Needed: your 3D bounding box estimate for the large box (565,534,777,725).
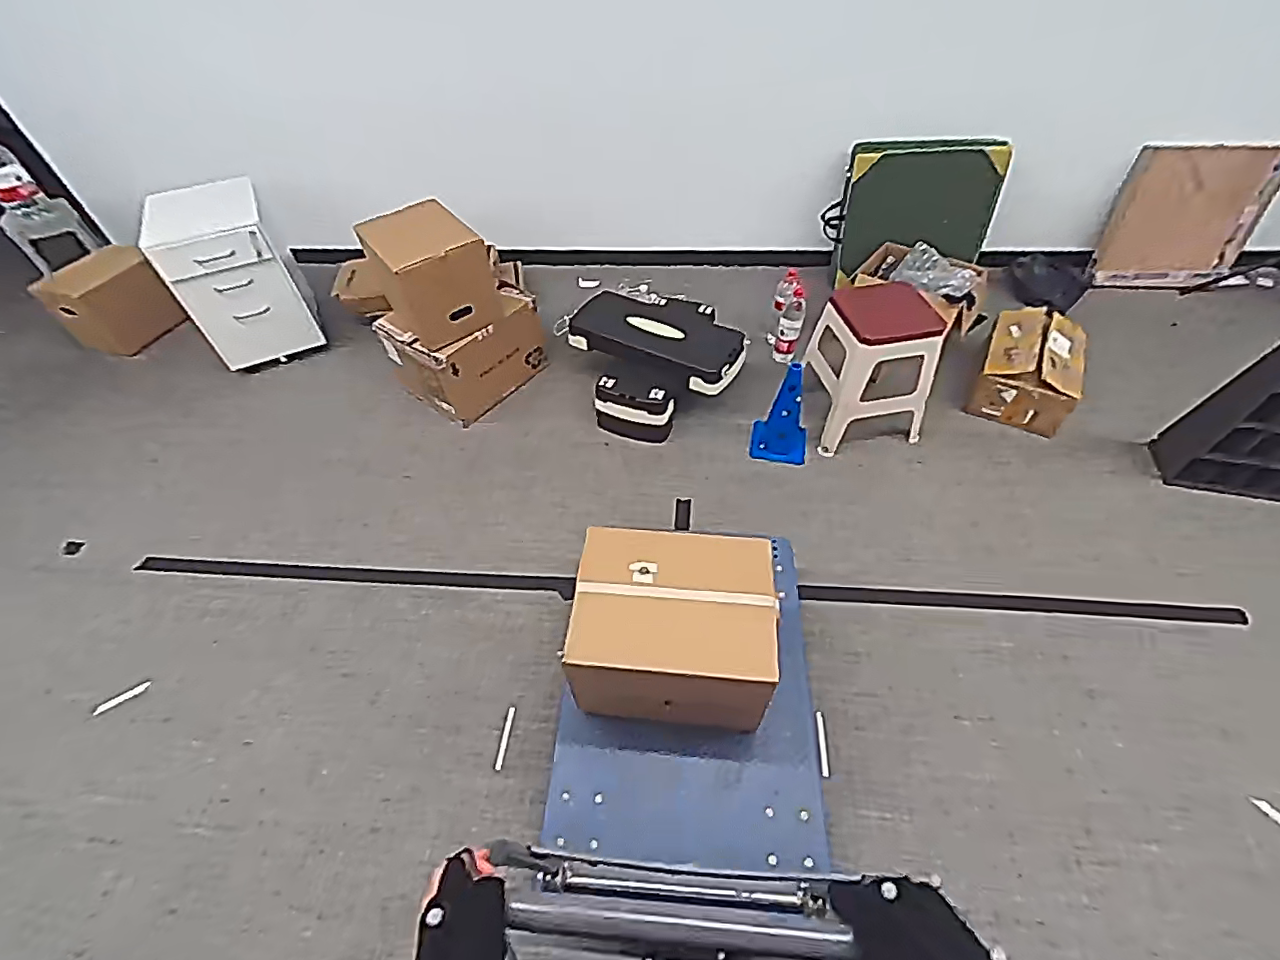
[{"bbox_3d":[0.077,0.338,1.213,0.408,0.320,0.320,2,50,6],"label":"large box"}]
